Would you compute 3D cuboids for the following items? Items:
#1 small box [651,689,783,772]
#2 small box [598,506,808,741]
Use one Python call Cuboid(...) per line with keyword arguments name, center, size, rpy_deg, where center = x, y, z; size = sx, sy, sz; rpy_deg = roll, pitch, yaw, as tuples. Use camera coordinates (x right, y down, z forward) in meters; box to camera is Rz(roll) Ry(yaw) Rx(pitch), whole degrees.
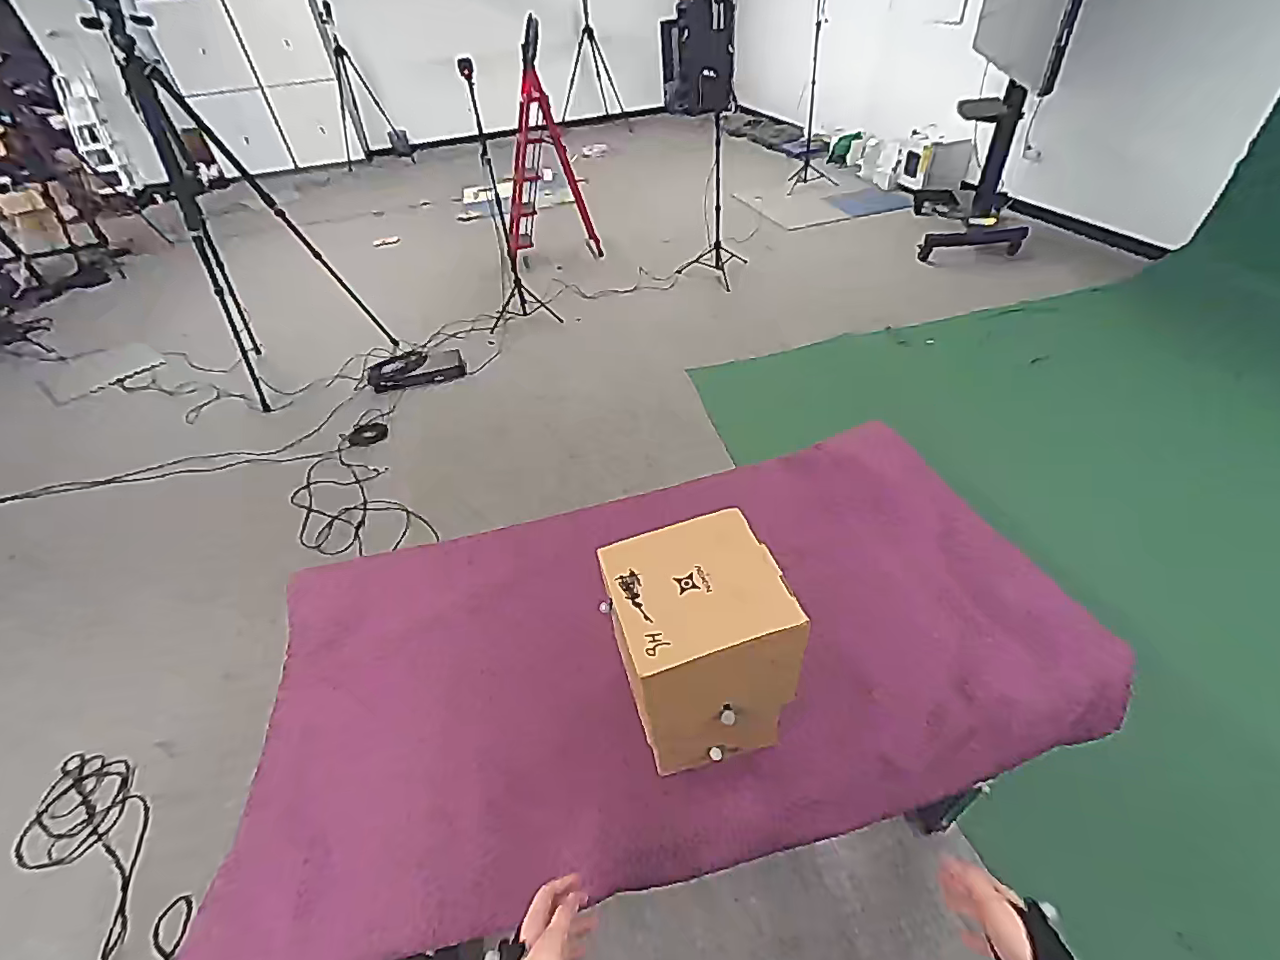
Cuboid(name="small box", center=(0.078, 0.262, 0.740), size=(0.168, 0.176, 0.179), rpy_deg=(-13, 42, -6))
Cuboid(name="small box", center=(0.062, 0.161, 0.609), size=(0.179, 0.176, 0.168), rpy_deg=(-15, 43, -9))
